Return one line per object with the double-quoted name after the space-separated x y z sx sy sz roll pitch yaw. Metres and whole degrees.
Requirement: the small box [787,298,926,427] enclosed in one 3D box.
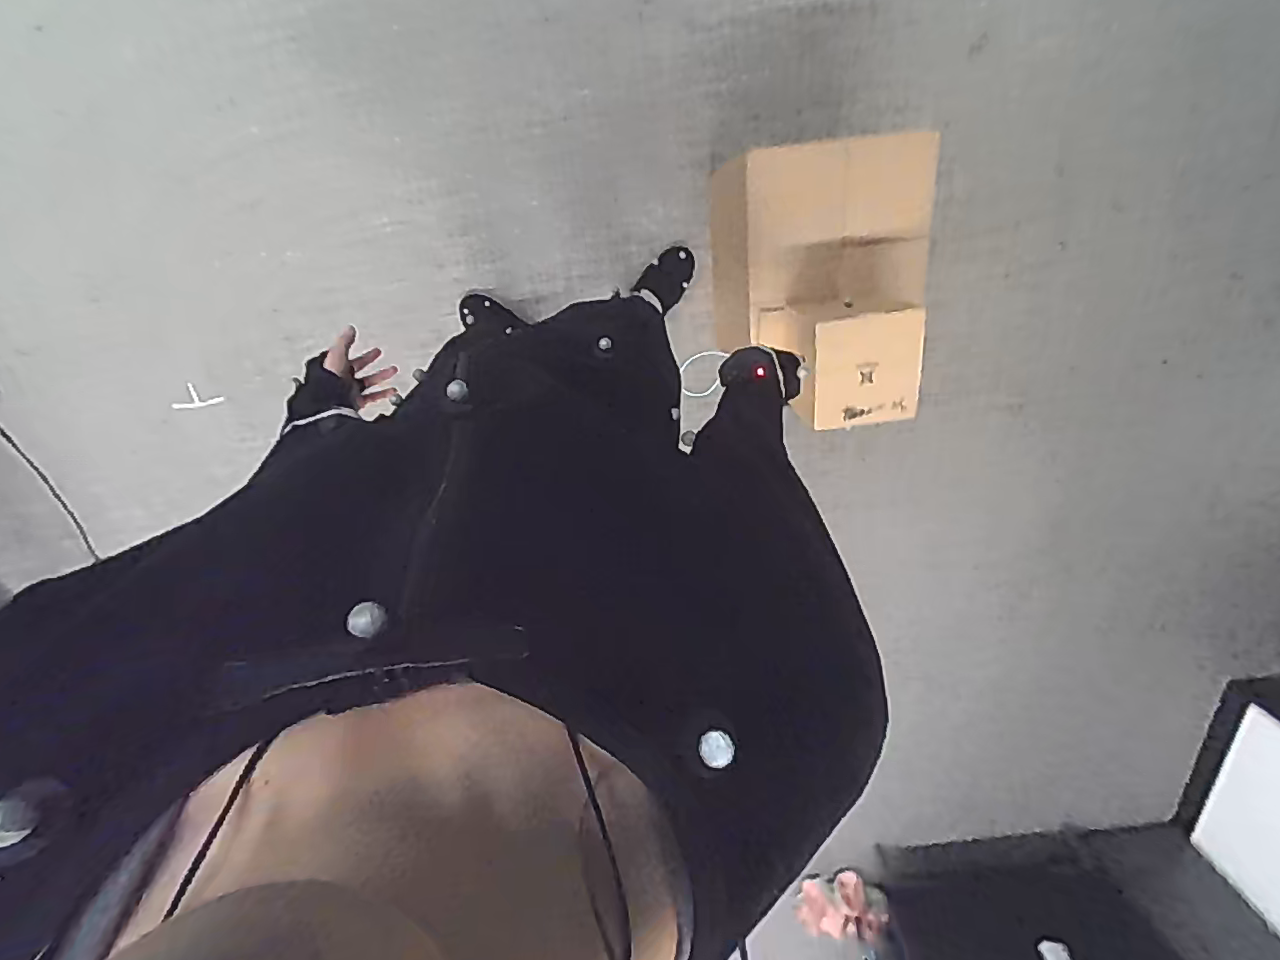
0.348 -0.203 0.901 0.168 0.176 0.179 -6 114 2 "small box"
